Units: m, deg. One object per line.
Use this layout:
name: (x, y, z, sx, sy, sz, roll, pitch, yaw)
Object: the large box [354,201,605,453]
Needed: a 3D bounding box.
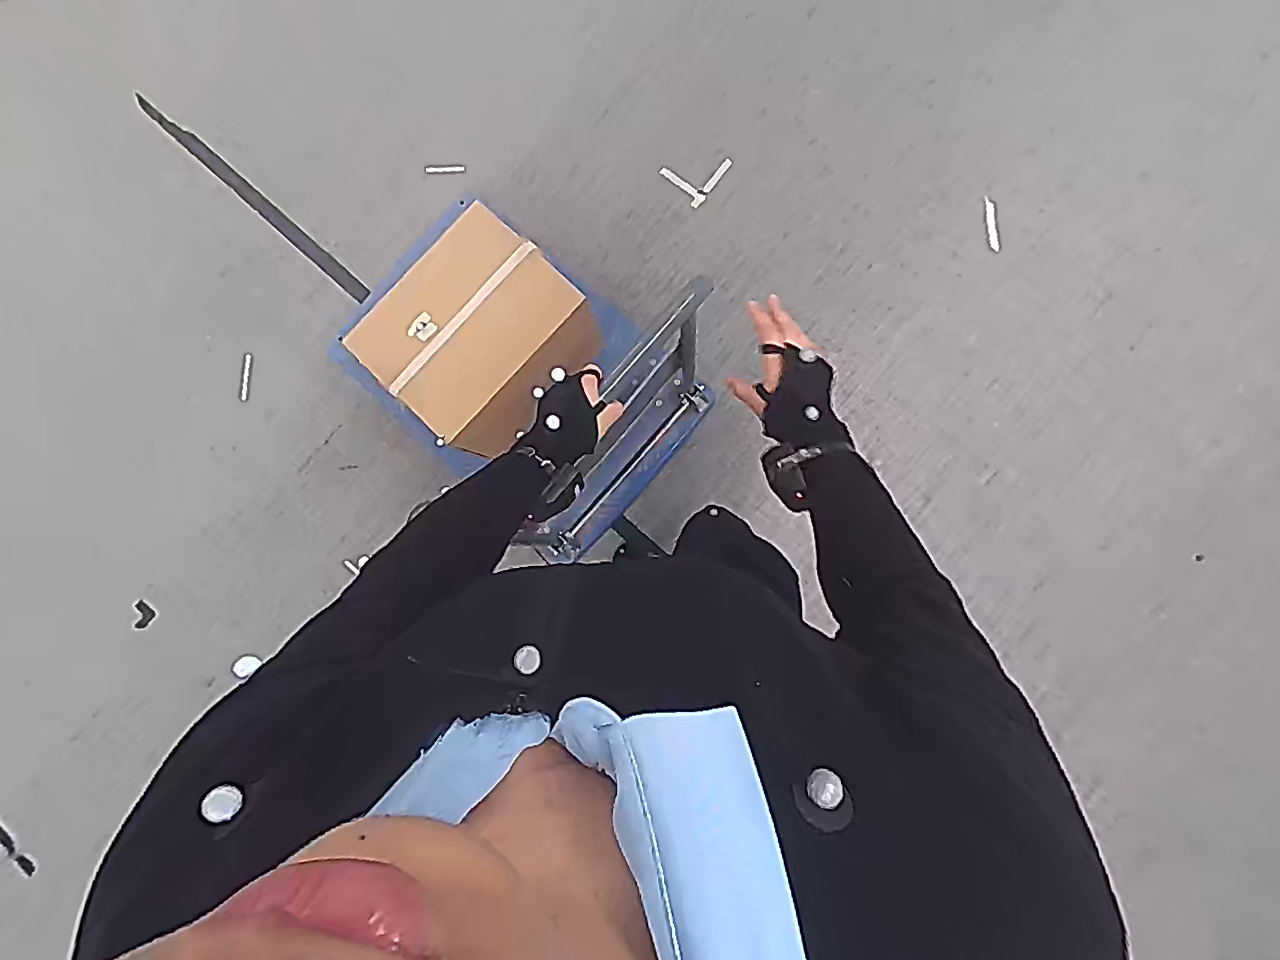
large box: (-0.335, -0.319, 1.239, 0.320, 0.320, 0.408, 43, 90, 6)
